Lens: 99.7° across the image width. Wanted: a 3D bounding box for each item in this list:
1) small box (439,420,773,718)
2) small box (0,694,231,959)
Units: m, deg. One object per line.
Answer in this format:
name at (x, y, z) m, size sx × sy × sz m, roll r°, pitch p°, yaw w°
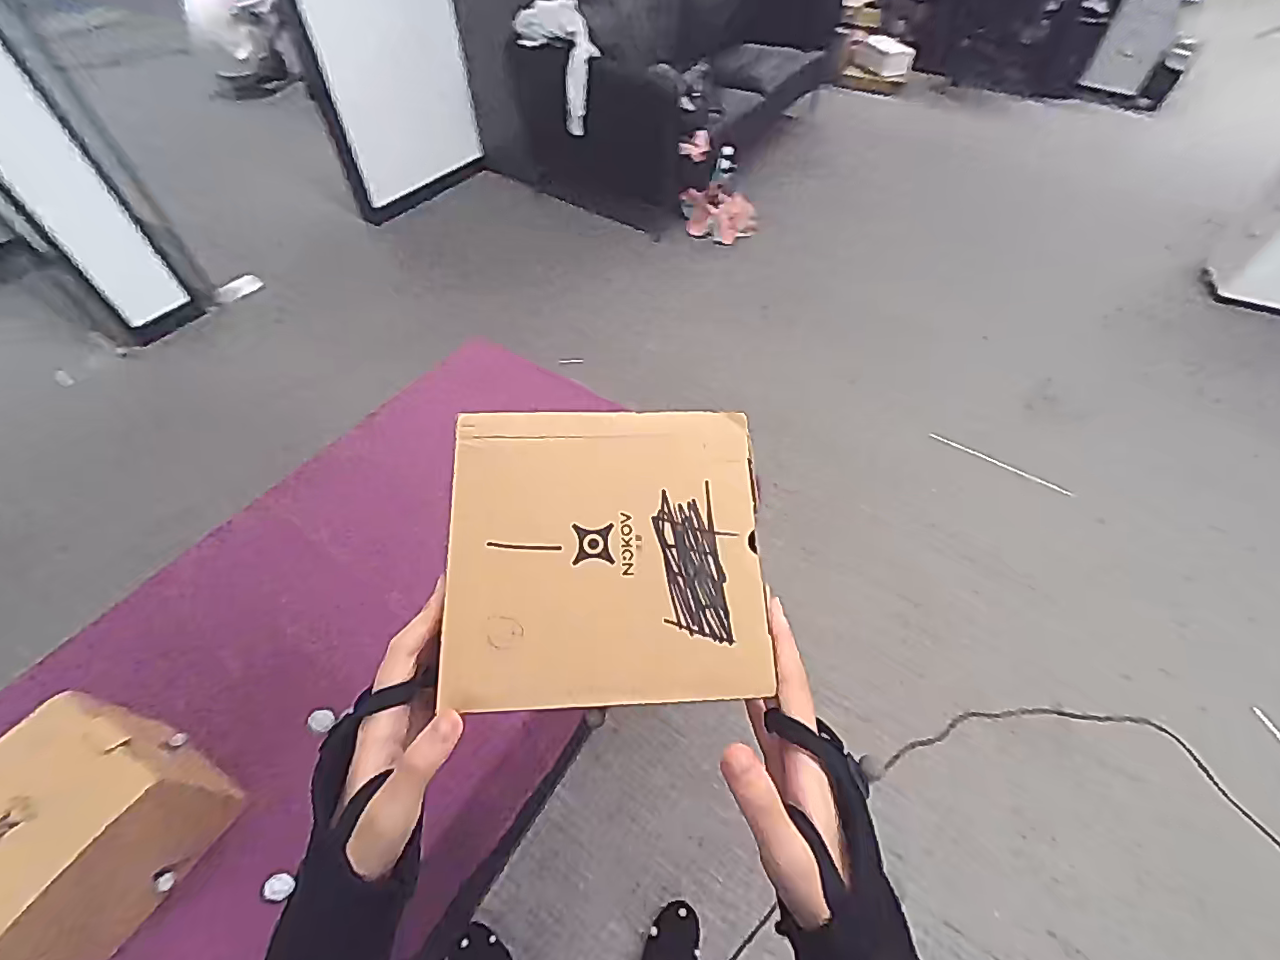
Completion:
small box at (-0.023, 0.069, 0.379) m, size 0.179 × 0.176 × 0.168 m, roll 0°, pitch 71°, yaw -5°
small box at (-0.582, 0.366, 0.568) m, size 0.168 × 0.176 × 0.179 m, roll 26°, pitch 57°, yaw 17°
